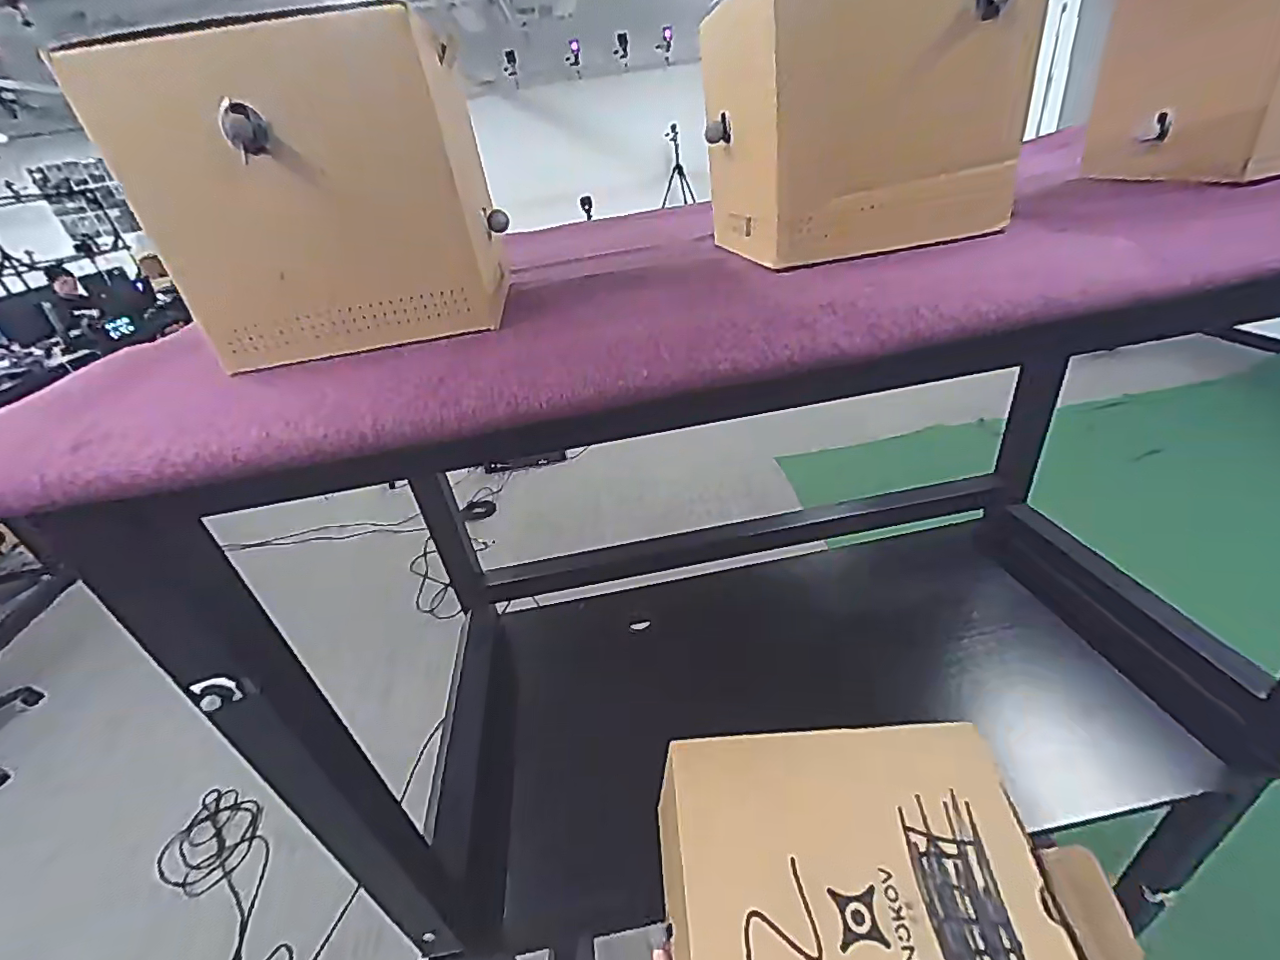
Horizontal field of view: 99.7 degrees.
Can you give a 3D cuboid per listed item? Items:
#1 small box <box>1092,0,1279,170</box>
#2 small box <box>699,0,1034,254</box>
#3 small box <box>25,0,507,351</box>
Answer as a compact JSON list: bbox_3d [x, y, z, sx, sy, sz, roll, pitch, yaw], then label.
[{"bbox_3d":[0.506,-0.347,0.414,0.168,0.176,0.179,-8,30,4],"label":"small box"},{"bbox_3d":[0.152,-0.273,0.397,0.179,0.176,0.168,-11,31,-3],"label":"small box"},{"bbox_3d":[-0.202,-0.197,0.362,0.179,0.176,0.168,-11,33,-3],"label":"small box"}]
